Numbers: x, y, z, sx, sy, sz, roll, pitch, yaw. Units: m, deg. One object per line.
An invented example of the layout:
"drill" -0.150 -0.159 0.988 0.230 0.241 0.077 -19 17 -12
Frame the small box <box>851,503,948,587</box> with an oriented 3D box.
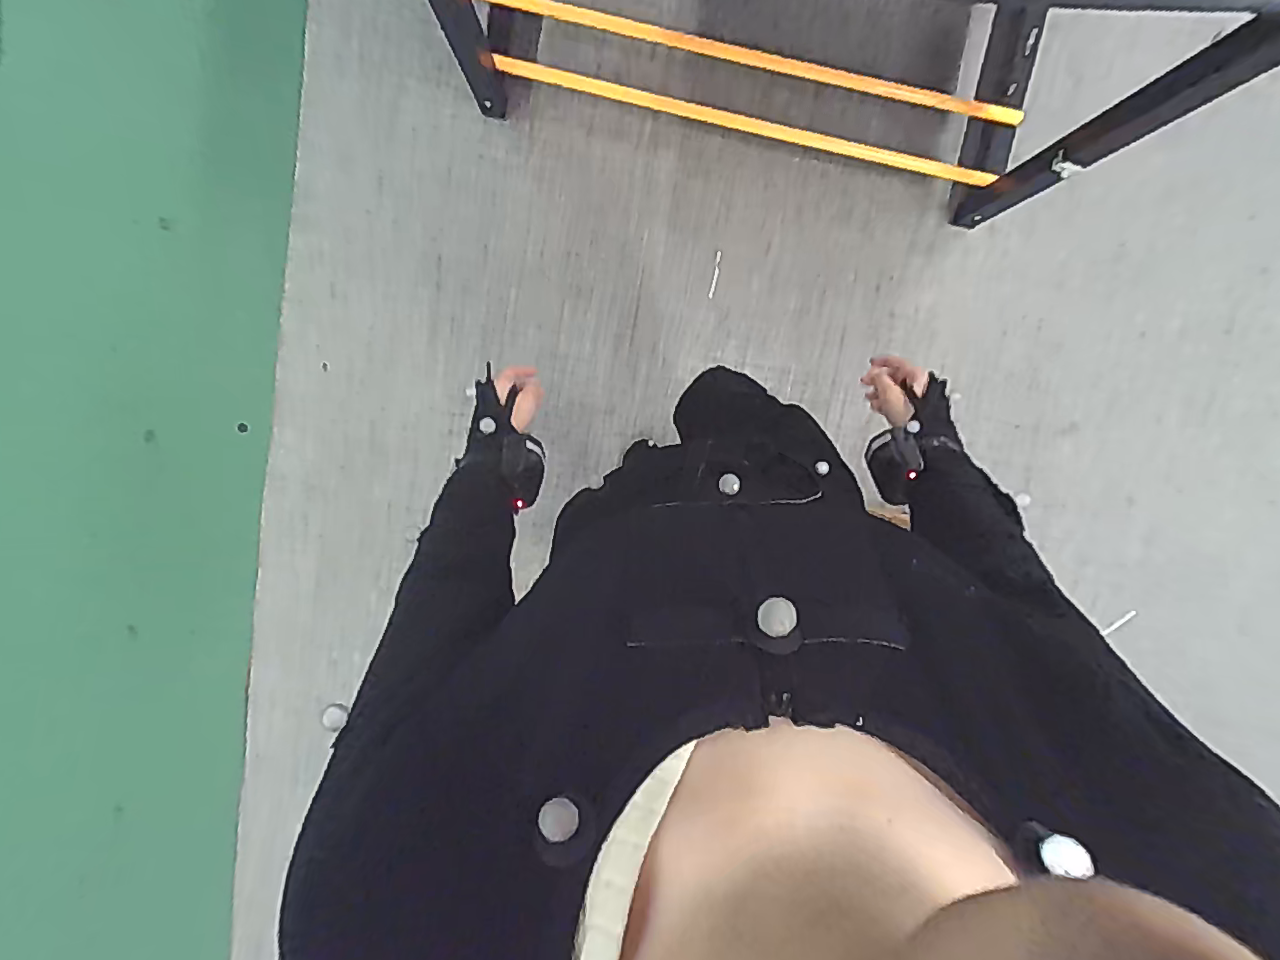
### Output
"small box" 0.628 0.154 1.302 0.168 0.176 0.179 4 97 -3
